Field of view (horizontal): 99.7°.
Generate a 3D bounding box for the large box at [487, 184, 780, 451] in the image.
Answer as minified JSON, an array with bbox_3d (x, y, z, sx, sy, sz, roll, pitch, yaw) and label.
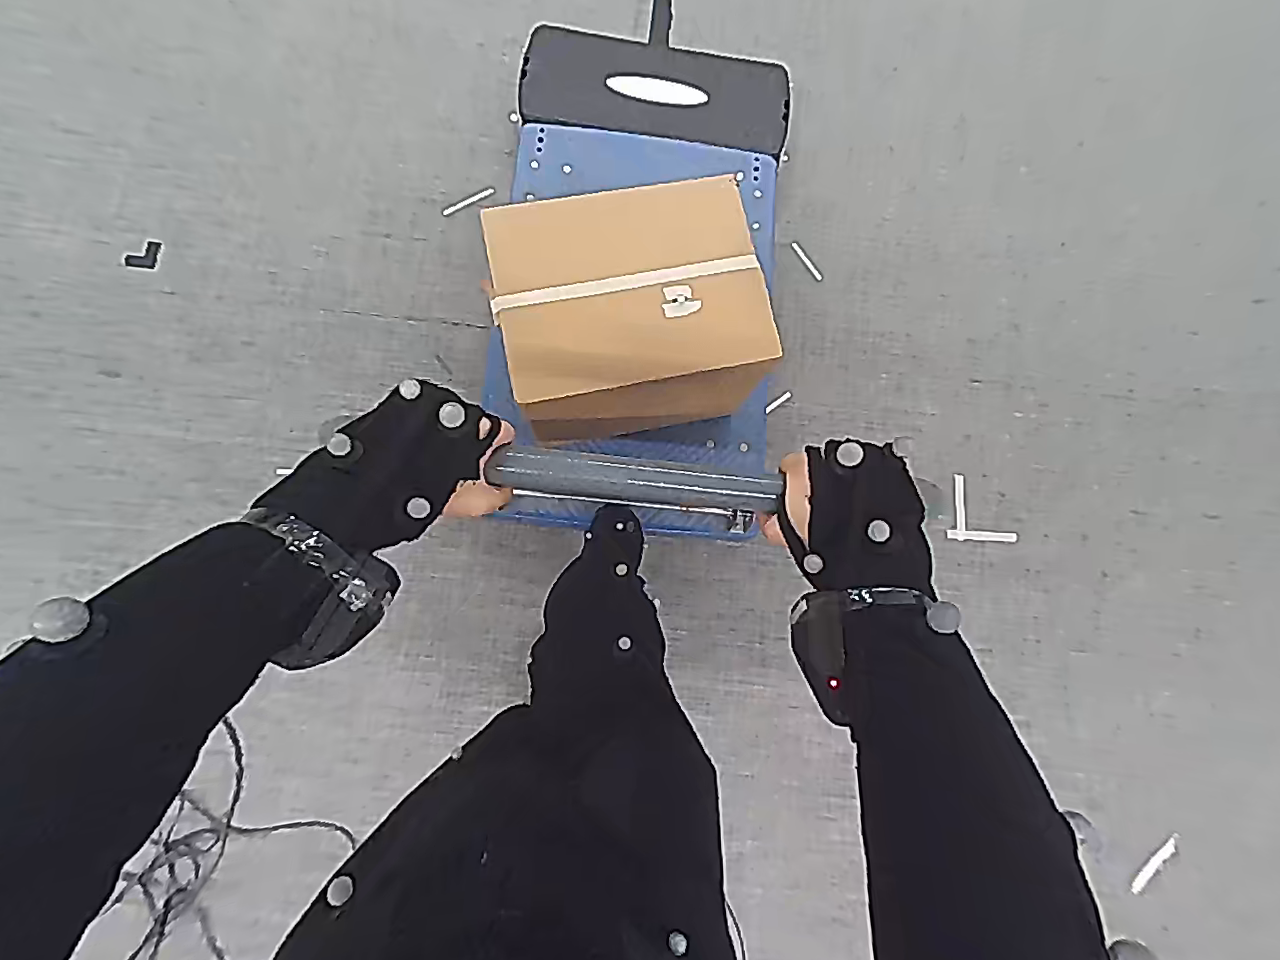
[{"bbox_3d":[-0.024,-0.265,0.968,0.408,0.320,0.320,-11,82,-7],"label":"large box"}]
